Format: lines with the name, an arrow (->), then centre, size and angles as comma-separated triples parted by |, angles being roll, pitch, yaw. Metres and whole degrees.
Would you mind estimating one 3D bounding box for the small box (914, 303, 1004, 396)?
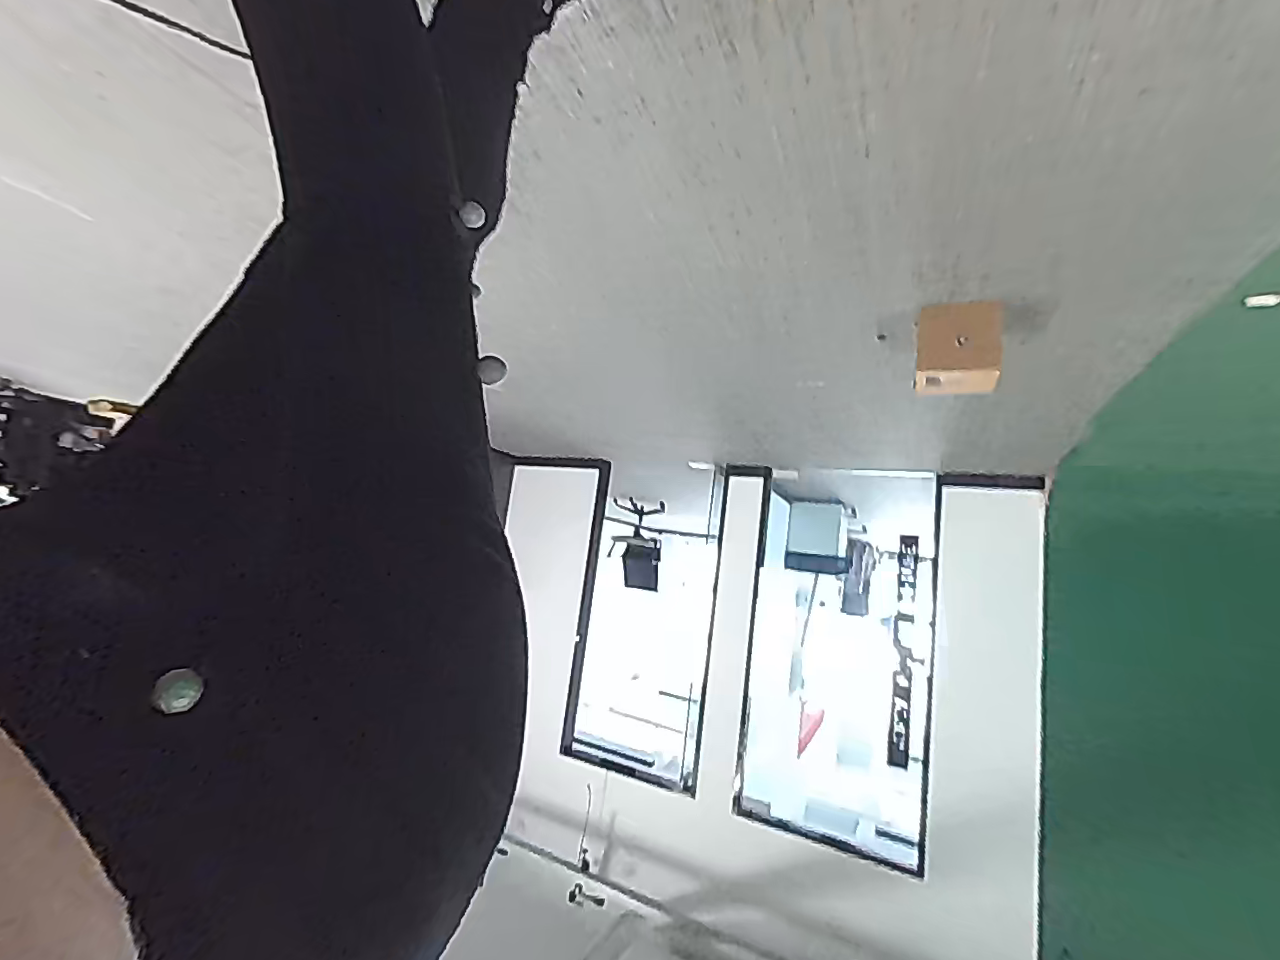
small box -> 0.776, -0.315, 1.327 | 0.179, 0.176, 0.168 | 2, 170, 26
